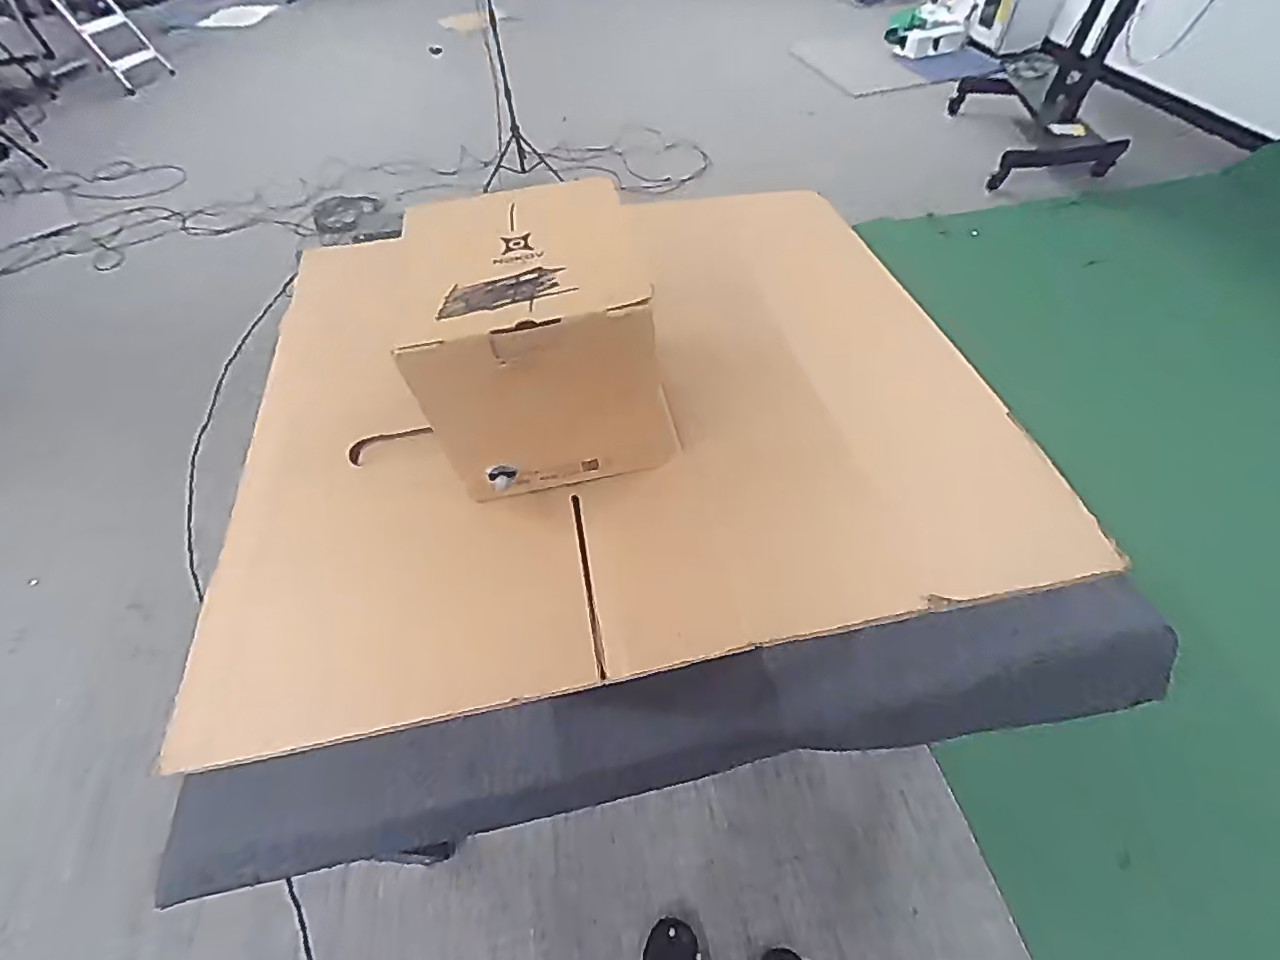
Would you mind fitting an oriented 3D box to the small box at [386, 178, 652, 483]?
[{"bbox_3d":[-0.088,-0.114,0.450,0.168,0.176,0.179,-11,54,-4],"label":"small box"}]
